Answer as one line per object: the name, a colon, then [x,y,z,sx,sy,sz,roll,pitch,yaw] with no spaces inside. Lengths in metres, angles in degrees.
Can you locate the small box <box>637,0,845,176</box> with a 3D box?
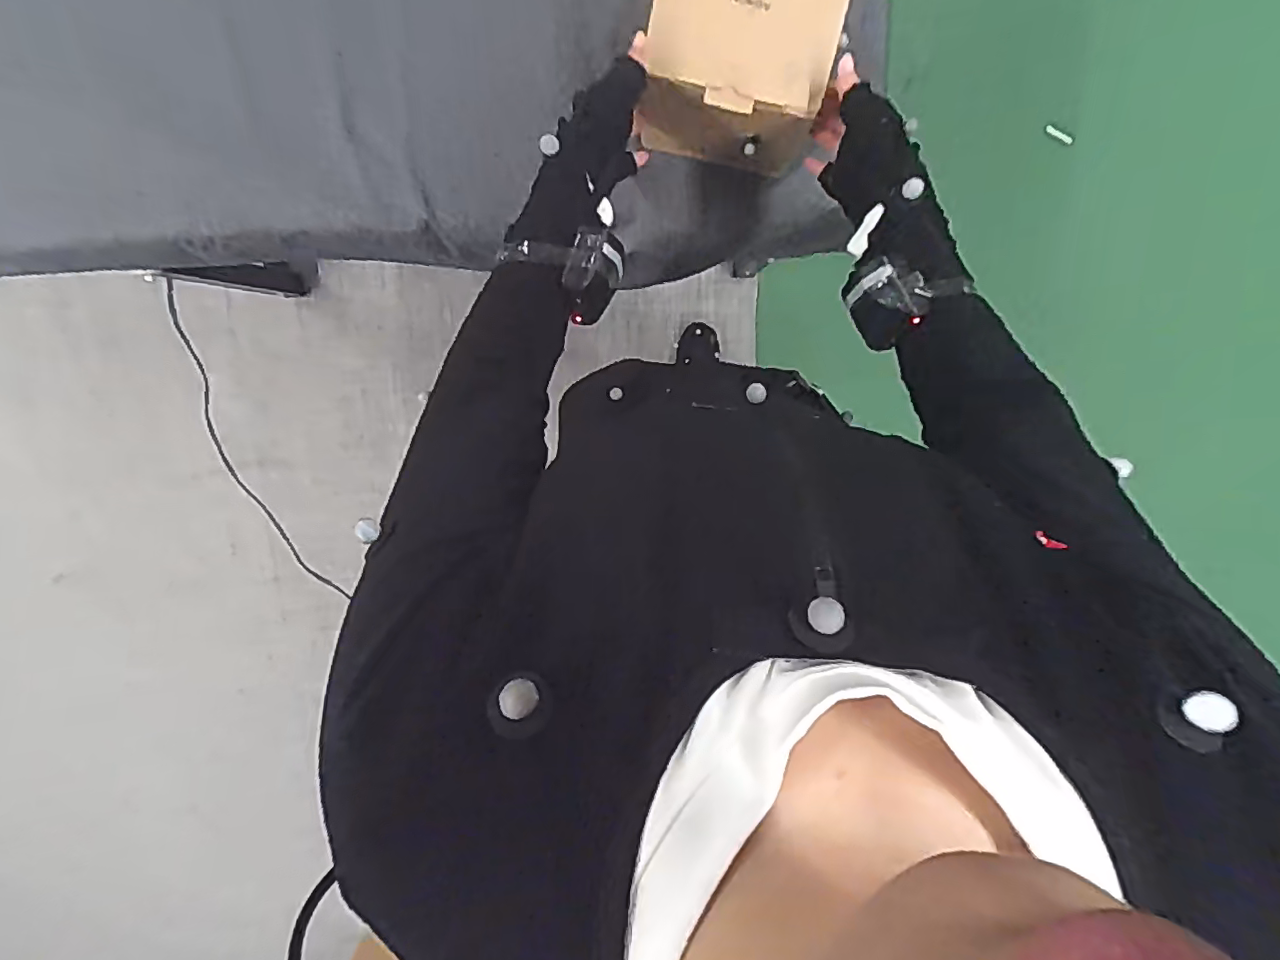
small box: [0.096,-0.435,0.541,0.168,0.176,0.179,12,101,-2]
